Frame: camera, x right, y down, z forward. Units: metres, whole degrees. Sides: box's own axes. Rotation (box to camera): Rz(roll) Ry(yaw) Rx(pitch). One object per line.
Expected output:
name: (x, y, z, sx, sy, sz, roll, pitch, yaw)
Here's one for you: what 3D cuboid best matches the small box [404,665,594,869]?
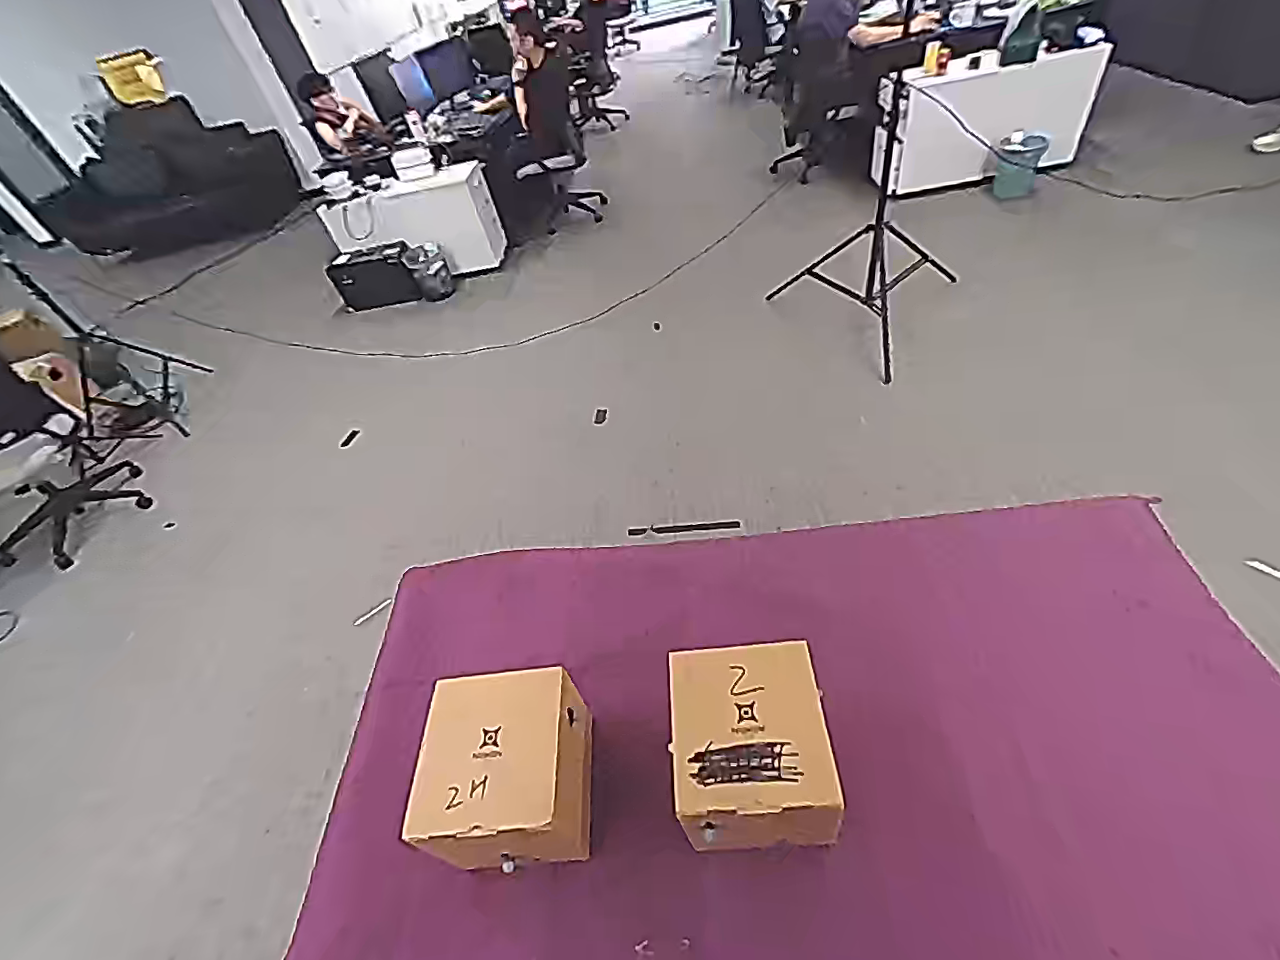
small box: (-0.156, 0.355, 0.667, 0.168, 0.176, 0.179, -8, 45, 5)
